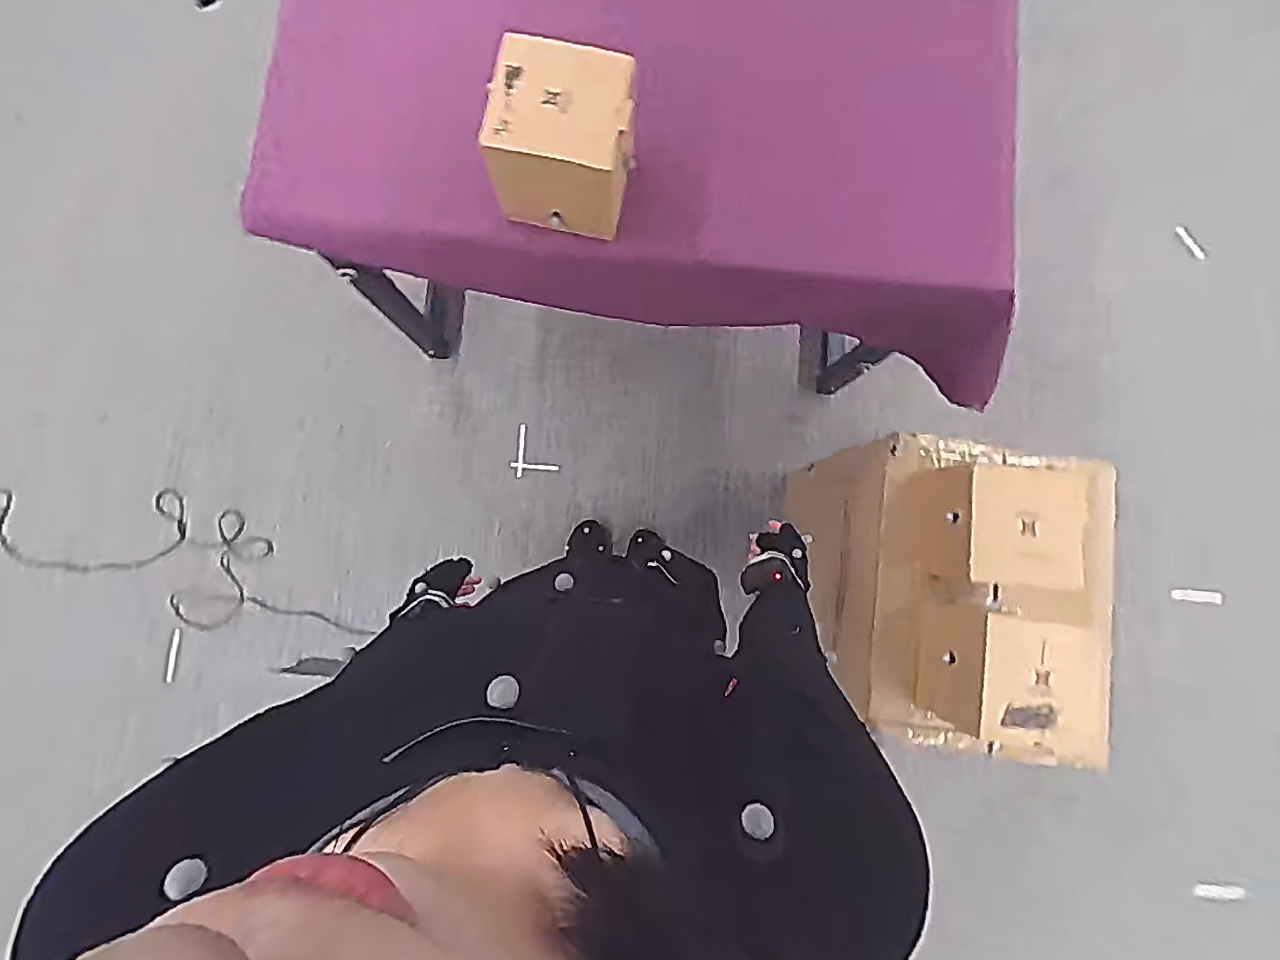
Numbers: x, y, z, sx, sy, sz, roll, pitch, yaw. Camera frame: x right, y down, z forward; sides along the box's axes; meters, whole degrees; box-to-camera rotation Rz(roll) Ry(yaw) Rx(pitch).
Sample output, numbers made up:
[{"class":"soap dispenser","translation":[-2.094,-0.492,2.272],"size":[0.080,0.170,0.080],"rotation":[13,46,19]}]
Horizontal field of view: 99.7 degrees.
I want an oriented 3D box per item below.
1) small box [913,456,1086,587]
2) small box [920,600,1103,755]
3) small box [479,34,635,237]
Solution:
[{"class":"small box","translation":[0.552,0.066,0.850],"size":[0.168,0.176,0.179],"rotation":[5,85,0]},{"class":"small box","translation":[0.552,0.288,0.824],"size":[0.168,0.176,0.179],"rotation":[8,82,0]},{"class":"small box","translation":[-0.111,-0.481,0.782],"size":[0.179,0.176,0.168],"rotation":[11,83,-2]}]
